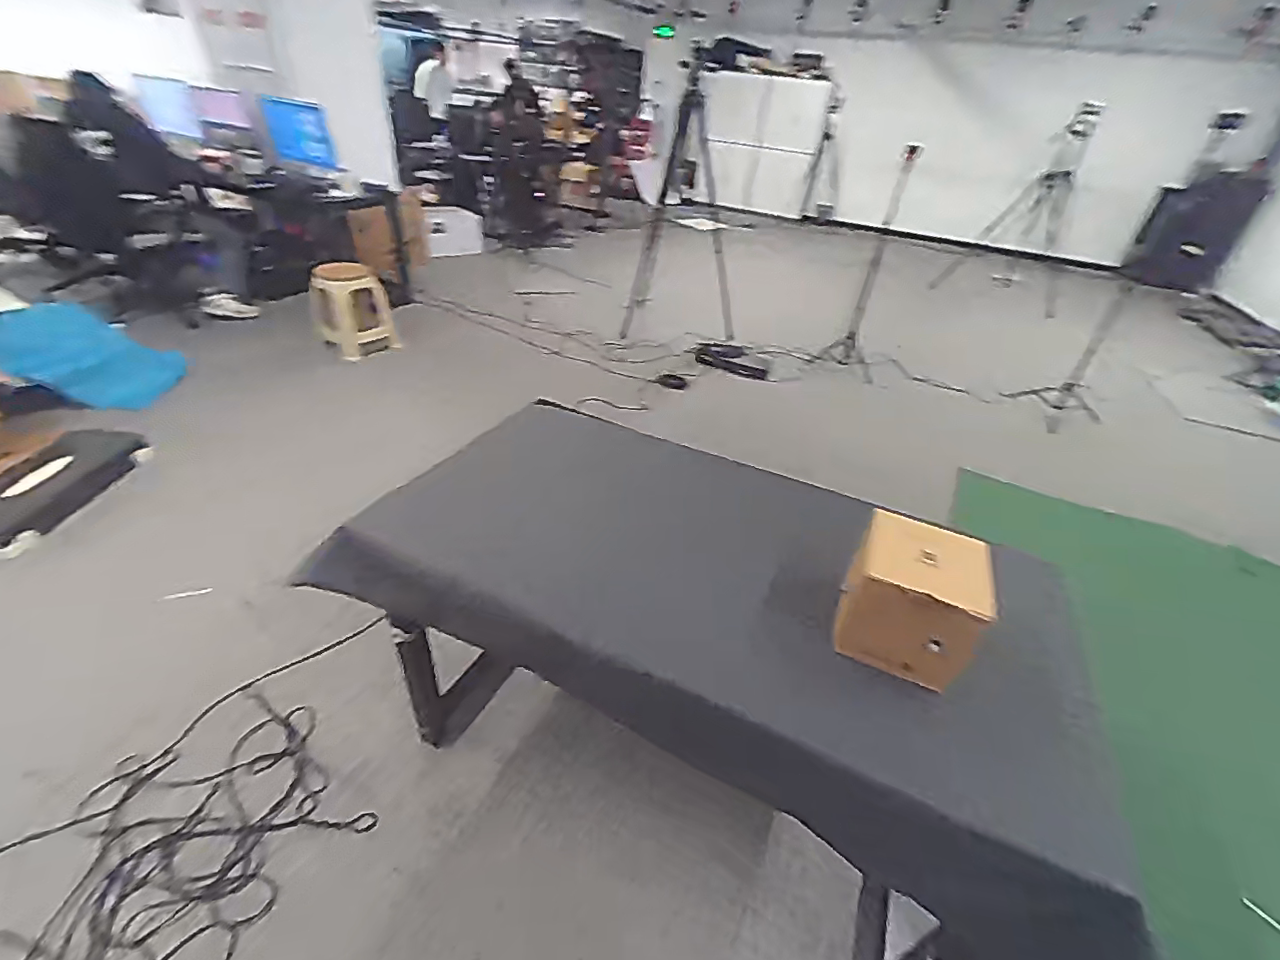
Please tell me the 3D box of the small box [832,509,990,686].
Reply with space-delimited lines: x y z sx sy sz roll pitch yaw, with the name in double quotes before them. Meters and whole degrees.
"small box" 0.406 0.178 0.829 0.168 0.176 0.179 19 36 16
